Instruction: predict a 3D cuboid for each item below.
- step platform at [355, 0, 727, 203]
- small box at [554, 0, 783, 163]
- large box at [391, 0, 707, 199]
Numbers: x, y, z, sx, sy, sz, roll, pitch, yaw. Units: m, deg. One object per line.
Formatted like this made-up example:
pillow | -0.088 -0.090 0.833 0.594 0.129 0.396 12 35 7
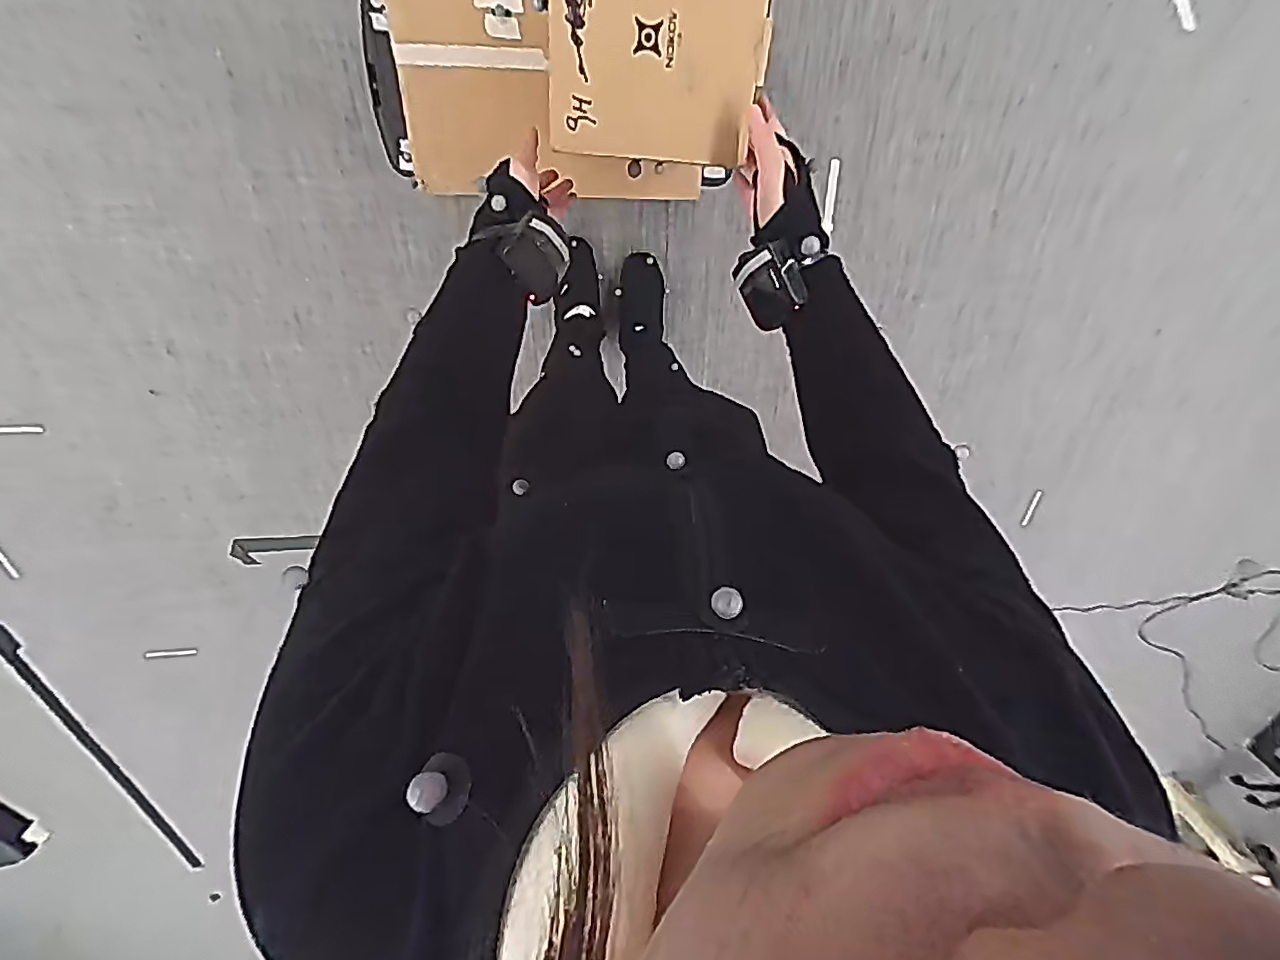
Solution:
step platform | -0.155 -0.721 1.025 0.684 0.204 0.286 3 121 -8
small box | 0.013 -0.389 0.486 0.179 0.176 0.168 1 120 -8
large box | -0.113 -0.612 0.816 0.408 0.320 0.320 -1 120 -5
